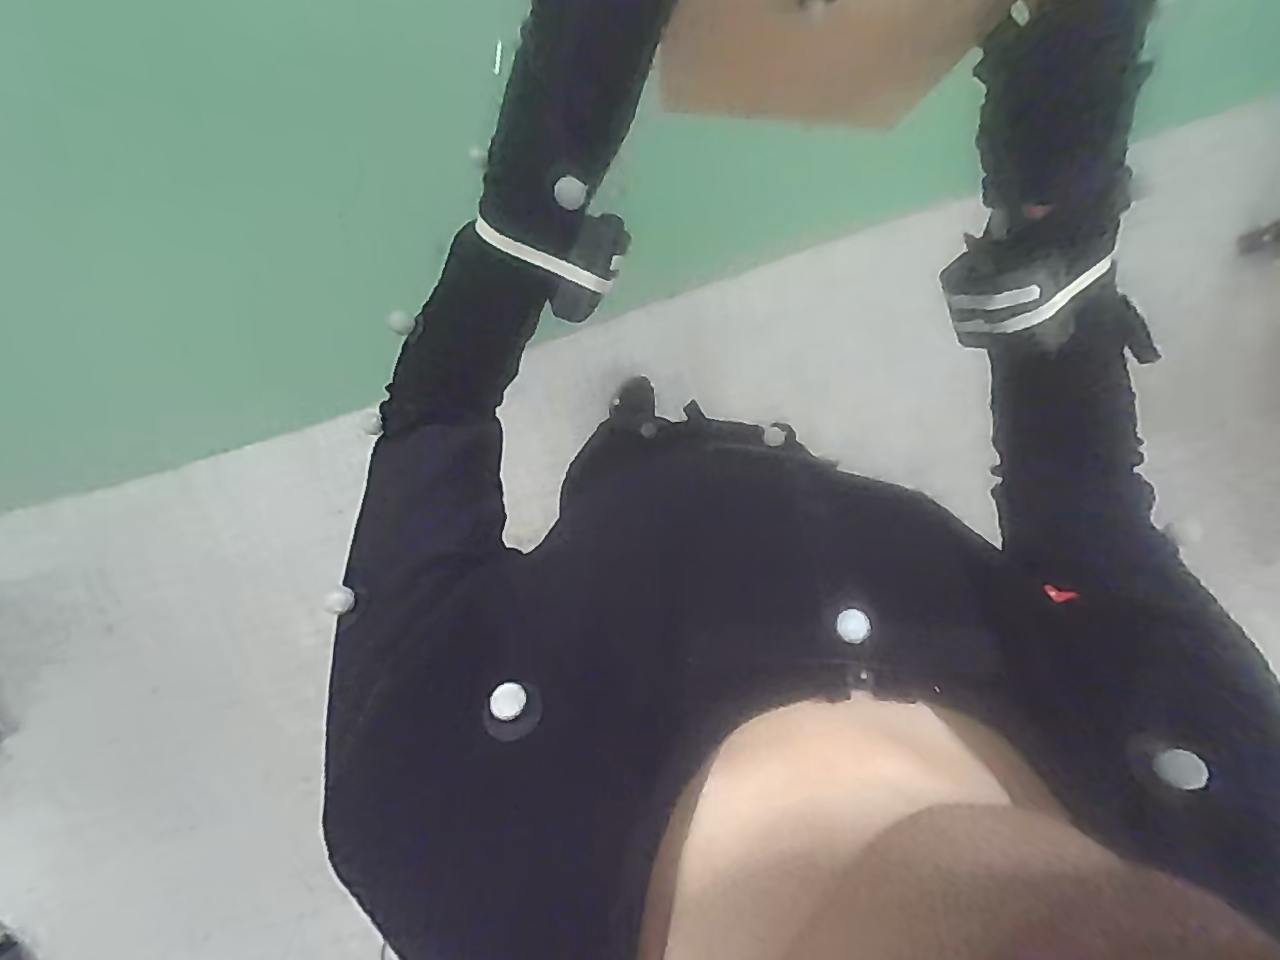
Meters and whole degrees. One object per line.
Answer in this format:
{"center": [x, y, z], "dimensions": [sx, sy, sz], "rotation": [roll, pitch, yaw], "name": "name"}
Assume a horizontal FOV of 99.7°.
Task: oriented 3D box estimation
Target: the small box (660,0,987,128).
{"center": [0.105, -0.331, 0.306], "dimensions": [0.179, 0.176, 0.168], "rotation": [4, 99, -2], "name": "small box"}
